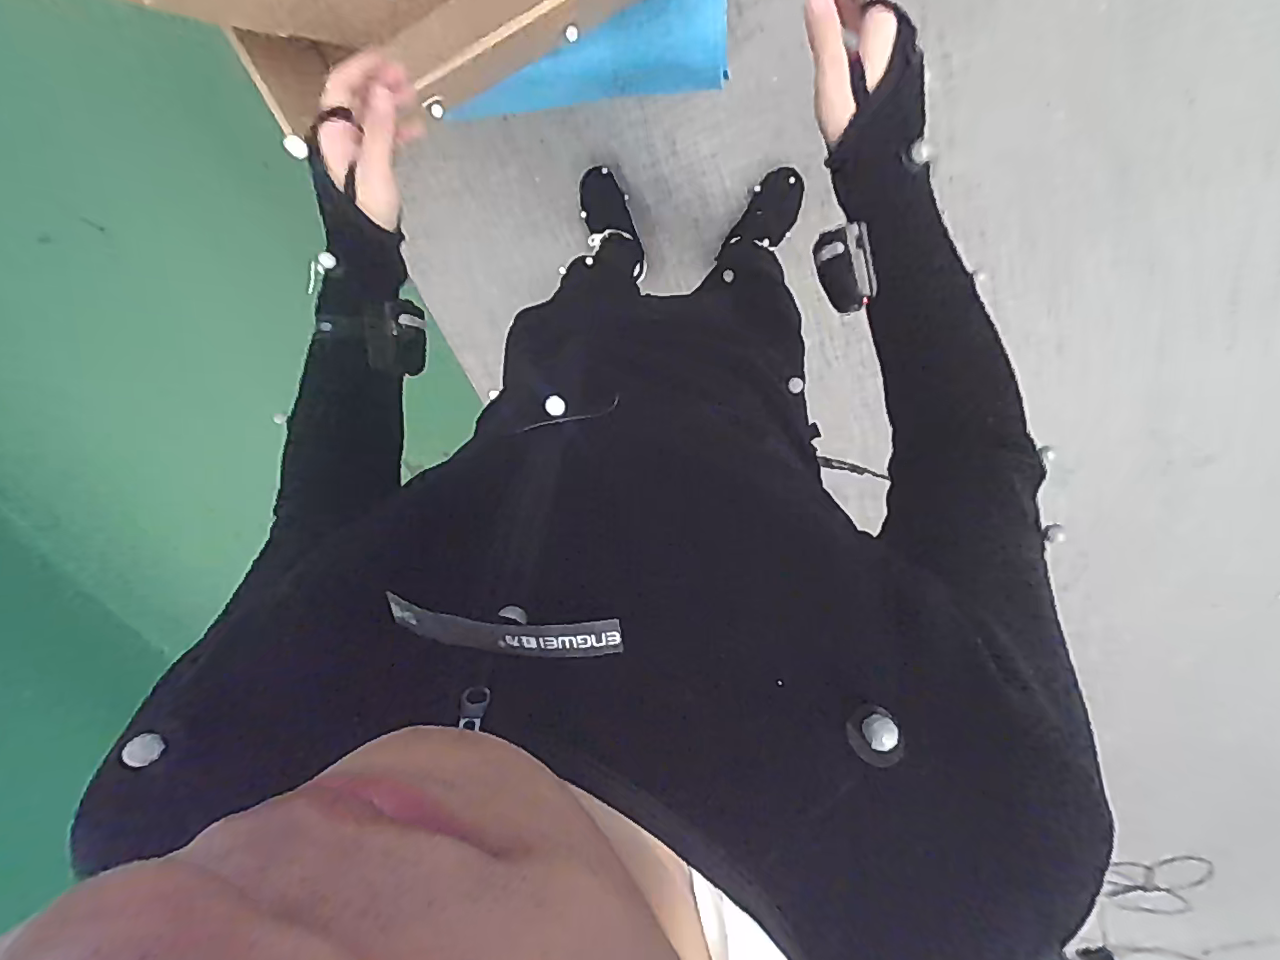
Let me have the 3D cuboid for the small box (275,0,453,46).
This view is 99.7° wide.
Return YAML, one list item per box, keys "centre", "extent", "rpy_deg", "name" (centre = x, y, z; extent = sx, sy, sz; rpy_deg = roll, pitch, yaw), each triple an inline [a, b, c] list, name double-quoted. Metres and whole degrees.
- centre: [-0.333, -0.640, 0.622]
  extent: [0.179, 0.176, 0.168]
  rpy_deg: [-13, 118, 22]
  name: "small box"
